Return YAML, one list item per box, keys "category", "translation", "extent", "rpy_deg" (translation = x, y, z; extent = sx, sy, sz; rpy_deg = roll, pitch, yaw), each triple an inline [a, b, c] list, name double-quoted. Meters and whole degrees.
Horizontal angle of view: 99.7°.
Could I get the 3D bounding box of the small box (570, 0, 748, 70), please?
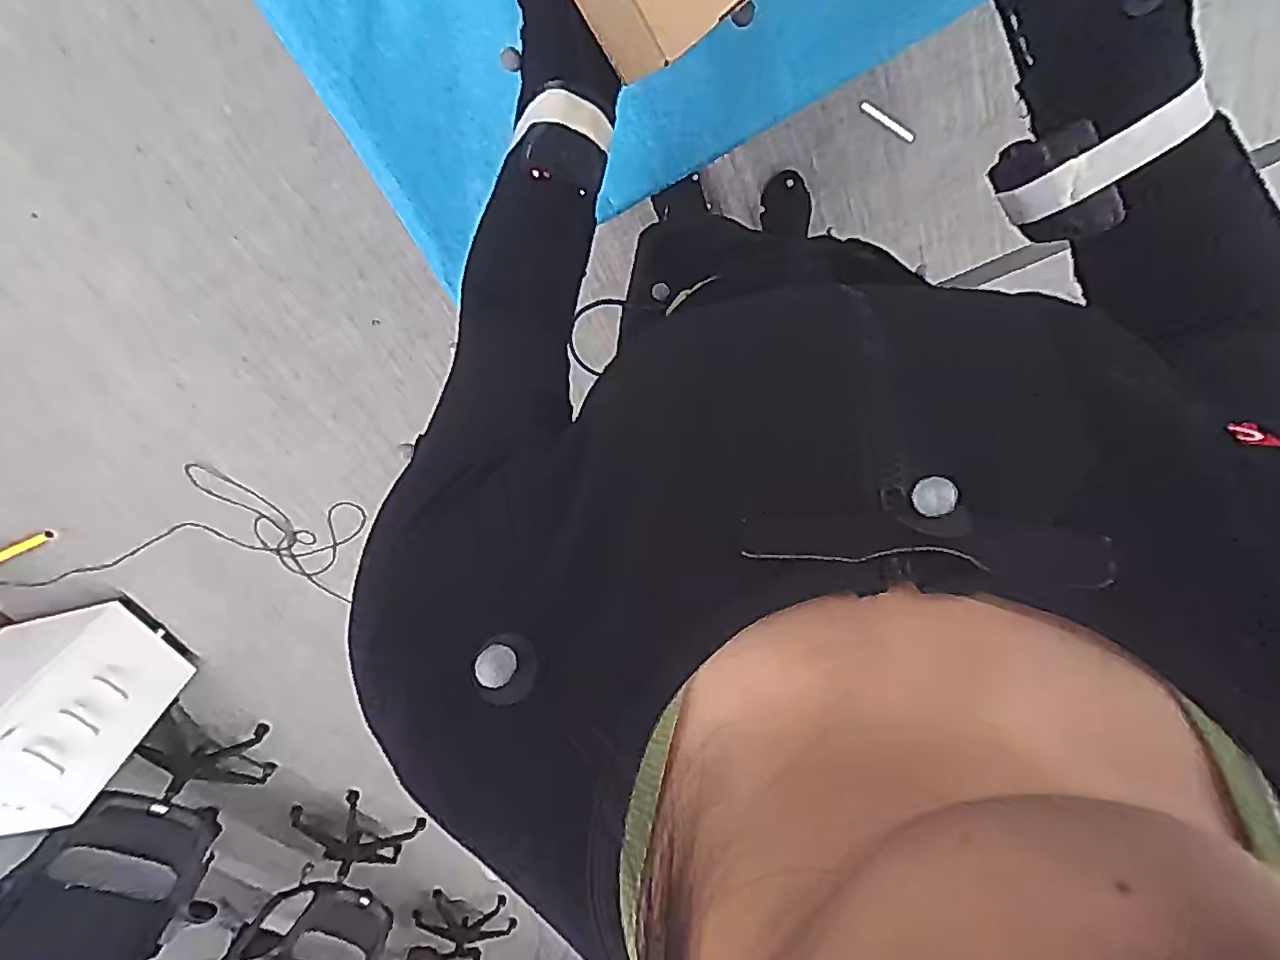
- category: "small box"
  translation: [0.014, -0.350, 0.280]
  extent: [0.168, 0.176, 0.179]
  rpy_deg: [-30, 126, 12]
